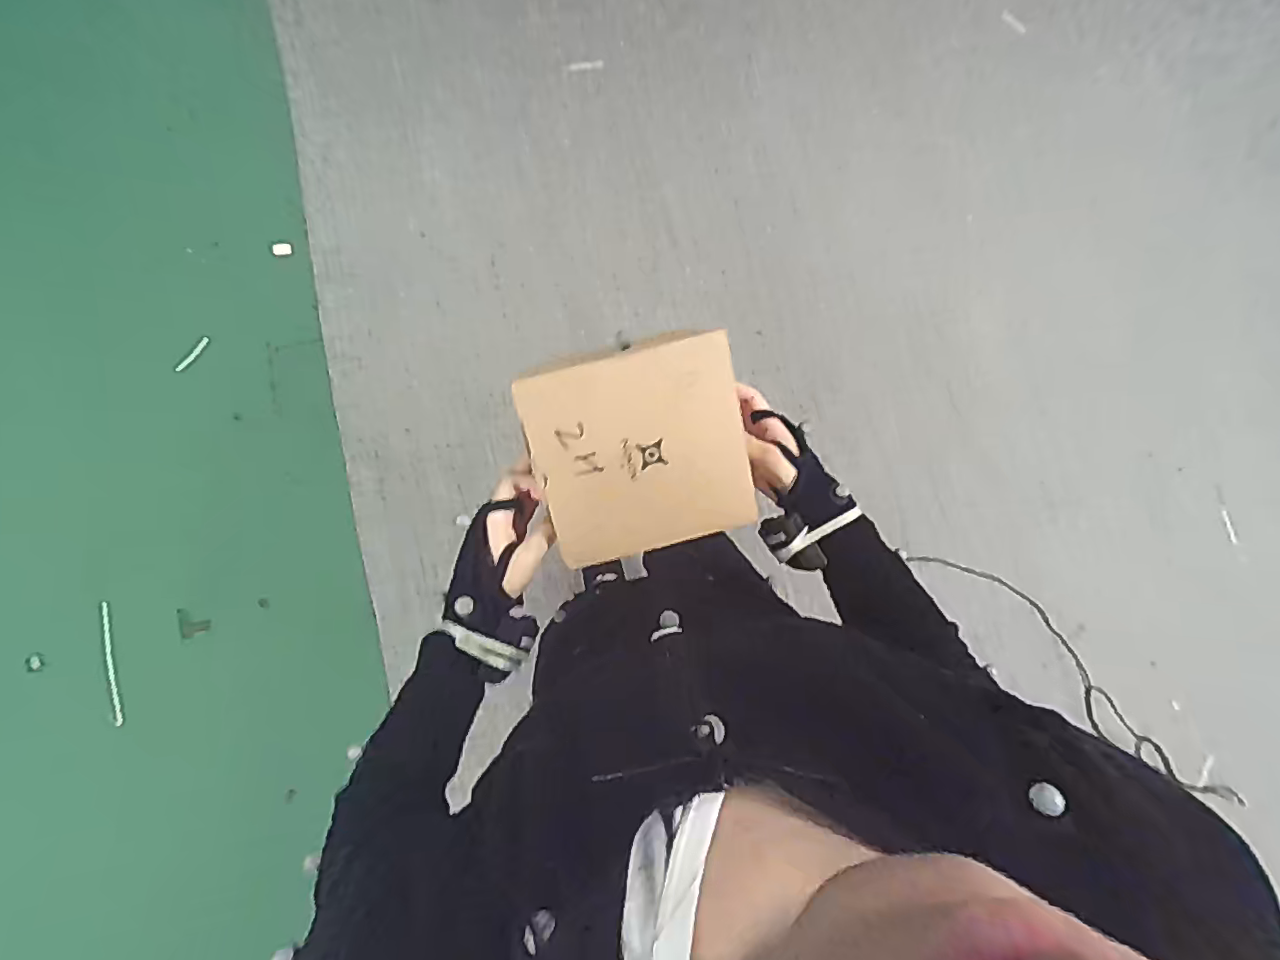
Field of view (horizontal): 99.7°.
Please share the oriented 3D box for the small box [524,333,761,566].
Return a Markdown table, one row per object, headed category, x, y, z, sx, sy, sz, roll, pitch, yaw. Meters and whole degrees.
| category | x | y | z | sx | sy | sz | roll | pitch | yaw |
| --- | --- | --- | --- | --- | --- | --- | --- | --- | --- |
| small box | -0.003 | -0.043 | 0.519 | 0.179 | 0.176 | 0.168 | -13 | 107 | -3 |
